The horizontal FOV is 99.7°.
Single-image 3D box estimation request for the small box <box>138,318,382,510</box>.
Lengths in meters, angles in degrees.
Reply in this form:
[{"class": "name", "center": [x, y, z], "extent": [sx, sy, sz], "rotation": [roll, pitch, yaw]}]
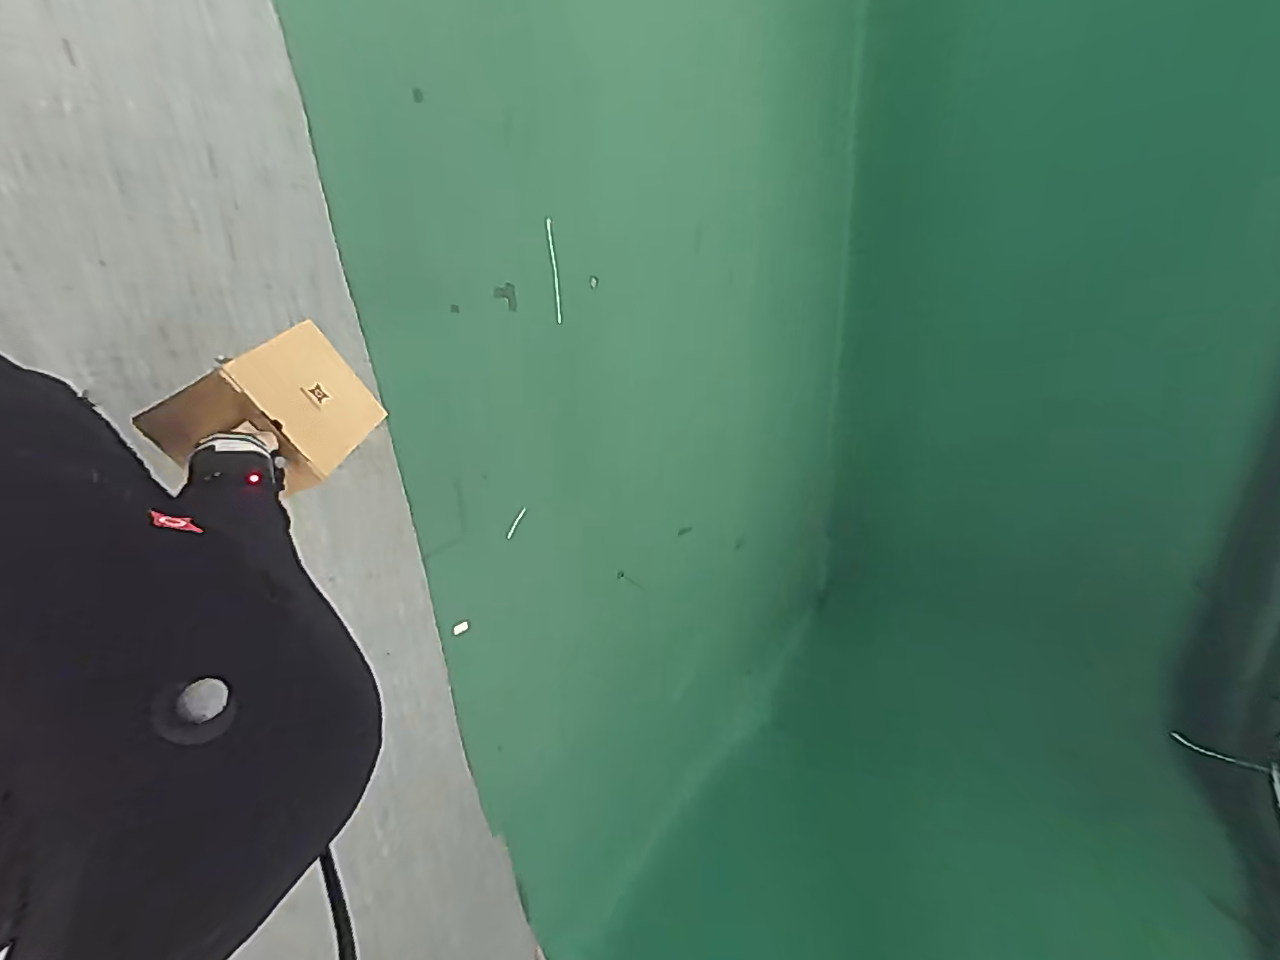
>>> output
[{"class": "small box", "center": [-0.500, -0.088, 0.729], "extent": [0.168, 0.176, 0.179], "rotation": [60, 21, -30]}]
